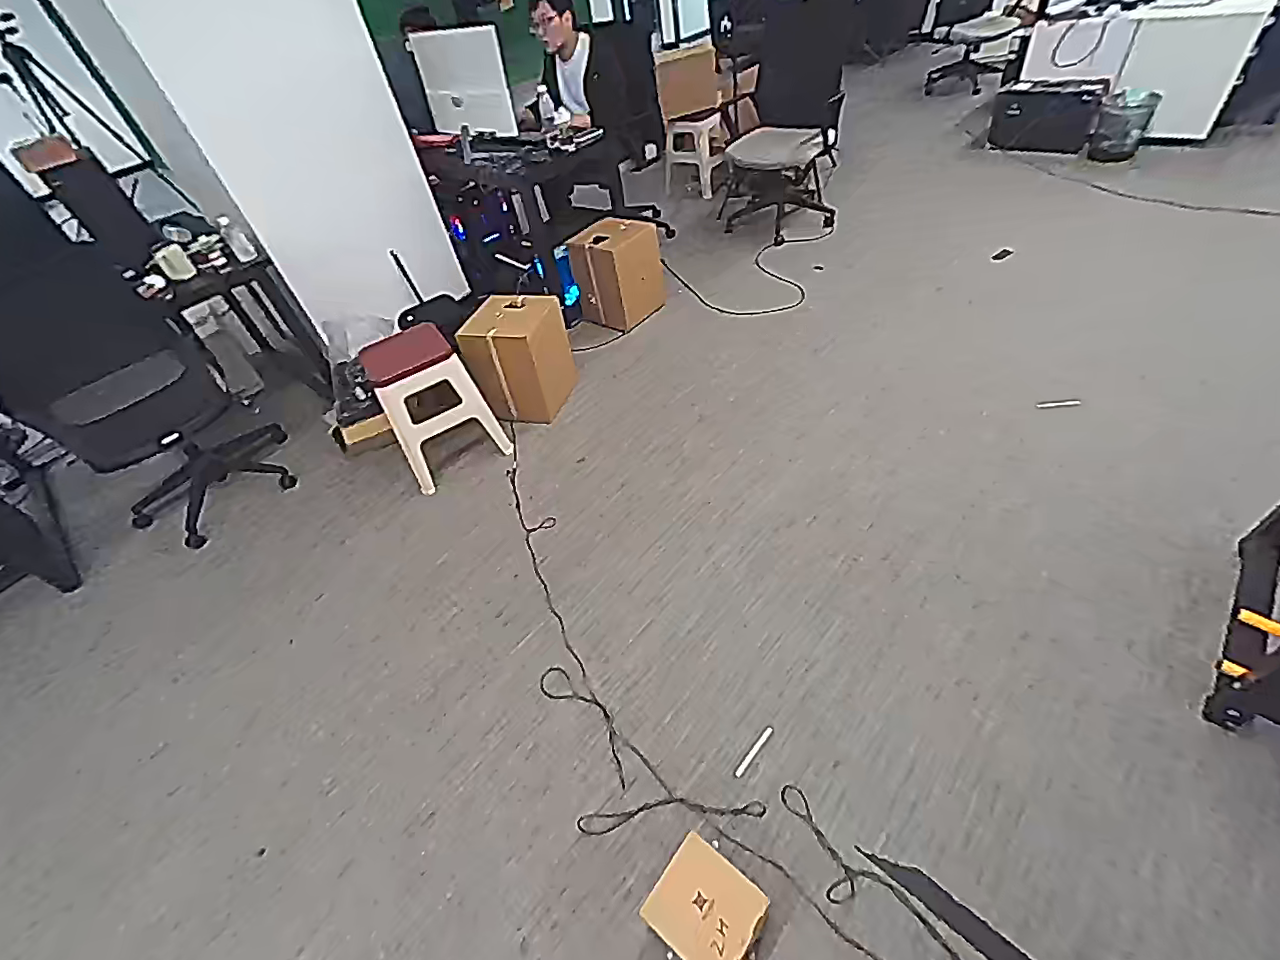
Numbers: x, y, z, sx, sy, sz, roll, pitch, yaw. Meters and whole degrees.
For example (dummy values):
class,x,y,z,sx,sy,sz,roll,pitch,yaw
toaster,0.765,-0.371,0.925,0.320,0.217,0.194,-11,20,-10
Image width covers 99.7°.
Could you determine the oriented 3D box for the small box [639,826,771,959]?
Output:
class,x,y,z,sx,sy,sz,roll,pitch,yaw
small box,0.125,0.797,1.006,0.179,0.176,0.168,27,58,32
